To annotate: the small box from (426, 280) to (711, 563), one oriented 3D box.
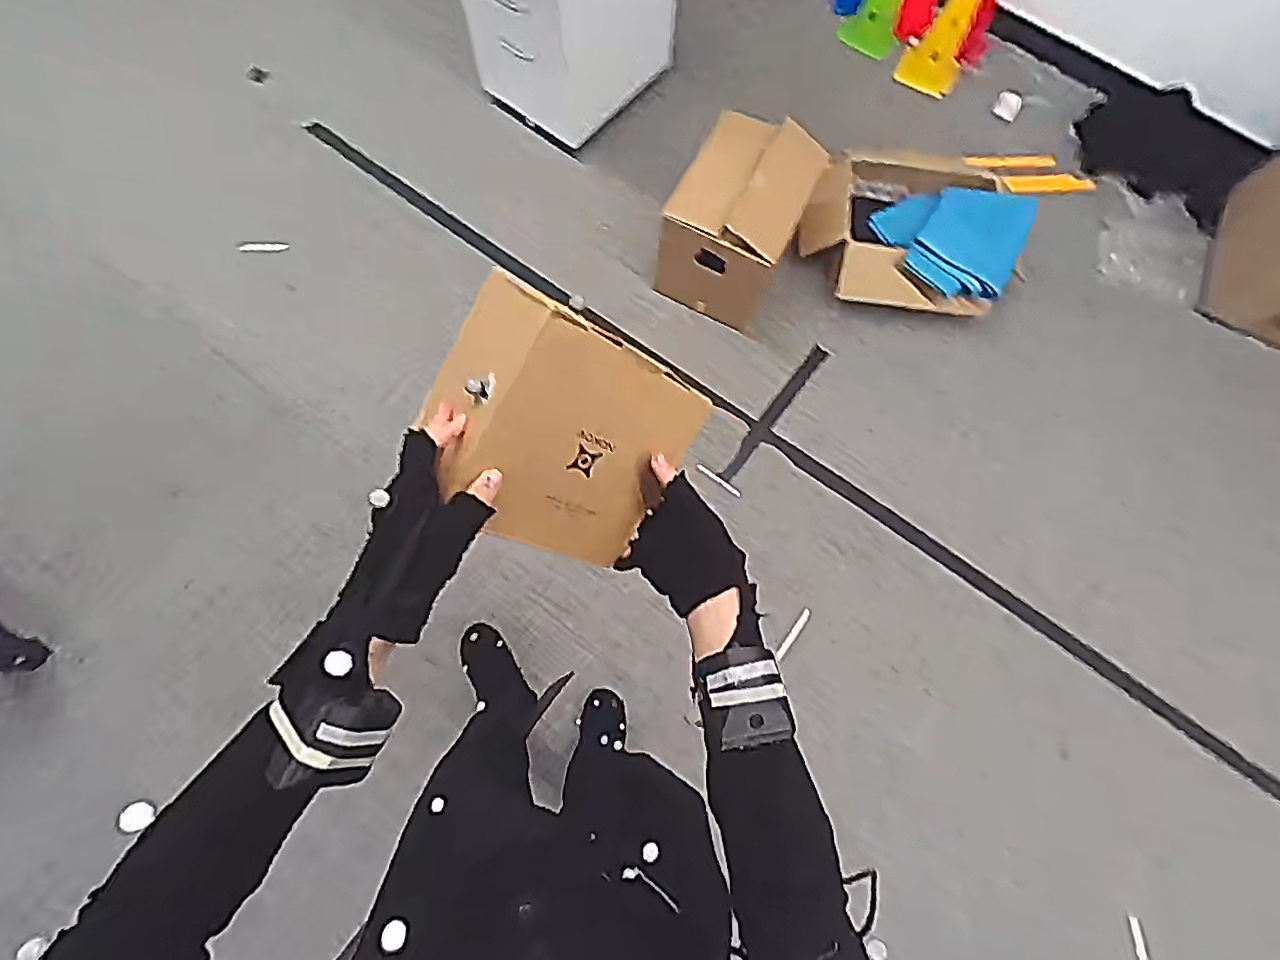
[{"bbox_3d":[-0.076,-0.057,0.488,0.168,0.176,0.179,23,104,-37],"label":"small box"}]
